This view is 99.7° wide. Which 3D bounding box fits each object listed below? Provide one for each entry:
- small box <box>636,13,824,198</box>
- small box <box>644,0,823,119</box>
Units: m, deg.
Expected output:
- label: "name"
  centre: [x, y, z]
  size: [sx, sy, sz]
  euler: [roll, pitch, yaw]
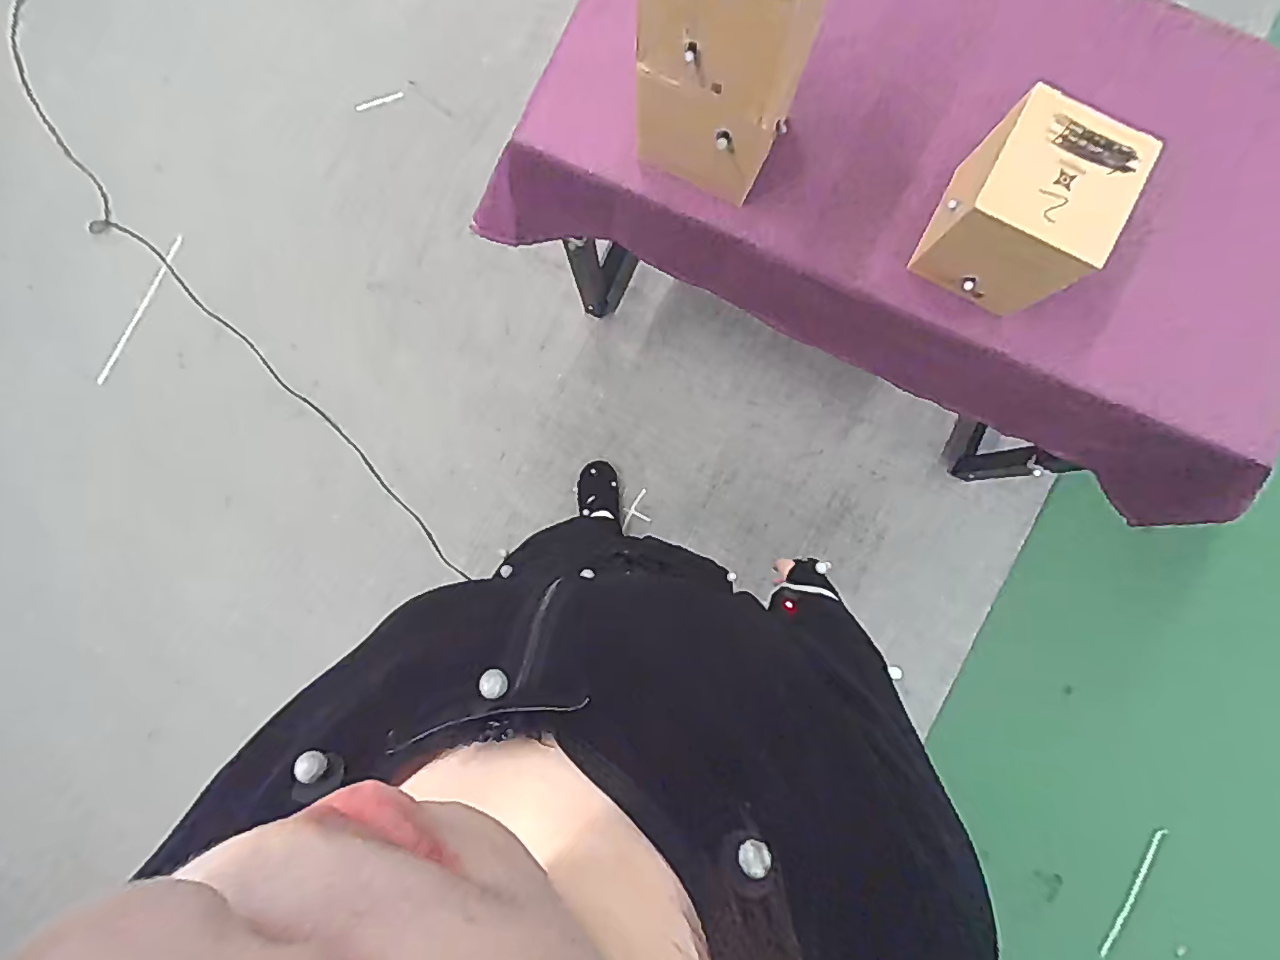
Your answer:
- label: "small box"
  centre: [0.109, -0.518, 0.726]
  size: [0.179, 0.176, 0.168]
  euler: [27, 87, 3]
- label: "small box"
  centre: [0.109, -0.537, 0.564]
  size: [0.168, 0.176, 0.179]
  euler: [28, 88, 2]
